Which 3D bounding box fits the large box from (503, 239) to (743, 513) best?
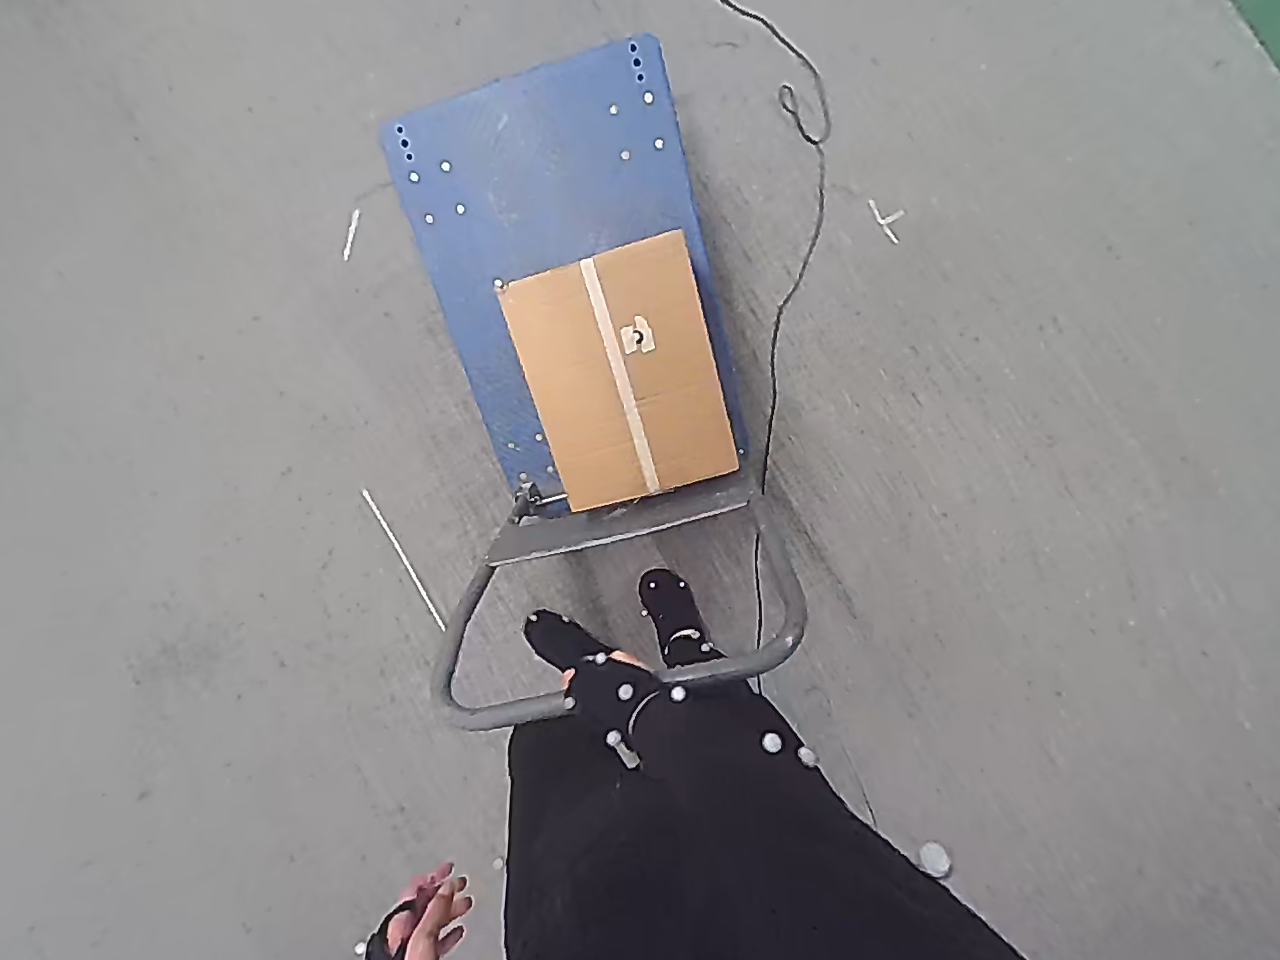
[{"bbox_3d":[-0.012,-0.201,1.060,0.320,0.320,0.408,-16,105,7],"label":"large box"}]
